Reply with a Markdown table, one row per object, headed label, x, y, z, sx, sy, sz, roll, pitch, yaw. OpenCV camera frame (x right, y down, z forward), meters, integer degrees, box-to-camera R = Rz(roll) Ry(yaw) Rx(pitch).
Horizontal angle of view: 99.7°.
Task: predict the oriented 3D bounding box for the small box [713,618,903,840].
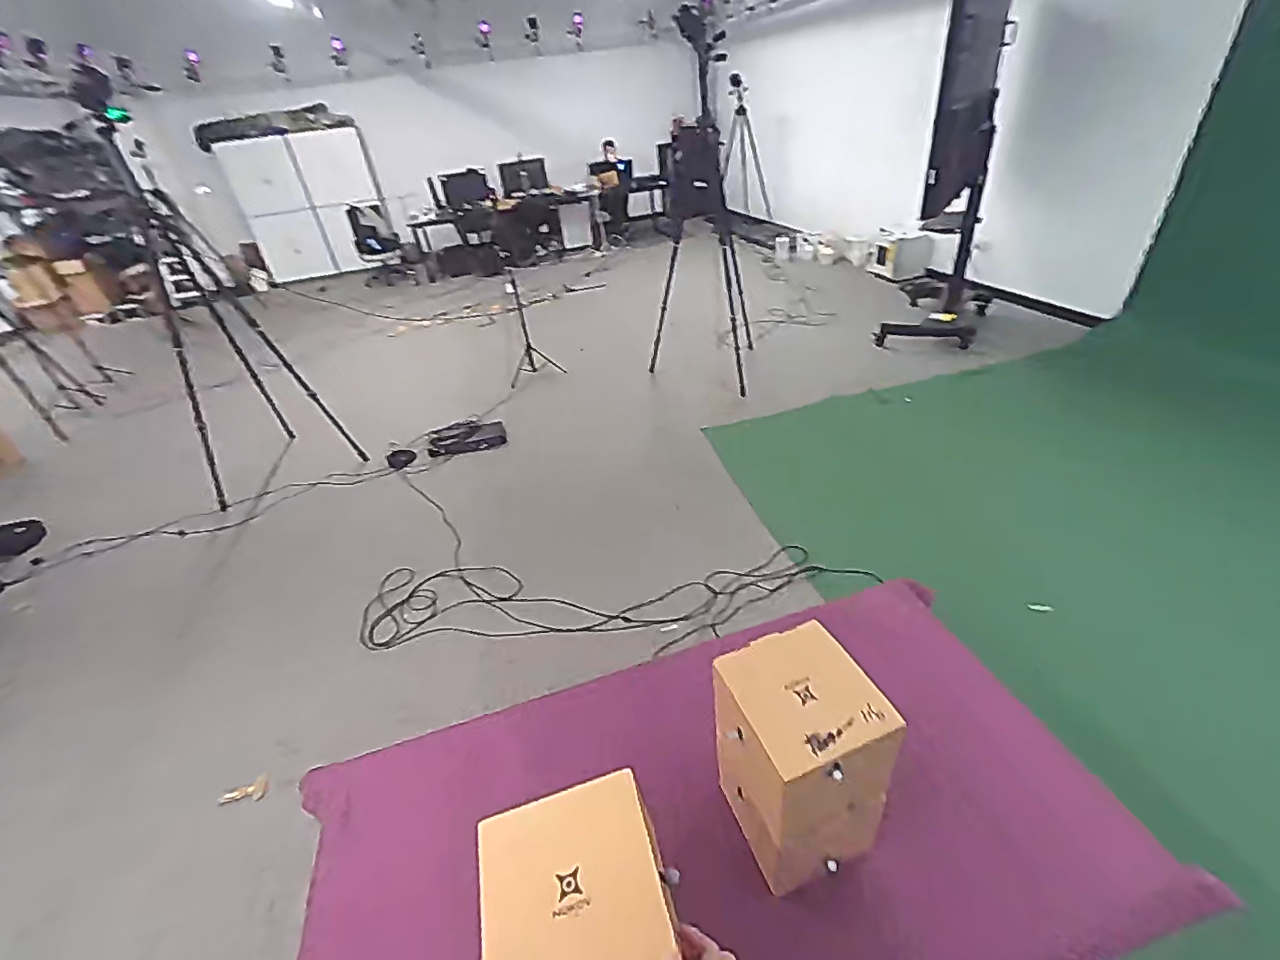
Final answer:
| label | x | y | z | sx | sy | sz | roll | pitch | yaw |
| --- | --- | --- | --- | --- | --- | --- | --- | --- | --- |
| small box | 0.207 | 0.322 | 0.712 | 0.168 | 0.176 | 0.179 | -17 | 35 | -13 |

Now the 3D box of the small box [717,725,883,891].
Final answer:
| label | x | y | z | sx | sy | sz | roll | pitch | yaw |
| --- | --- | --- | --- | --- | --- | --- | --- | --- | --- |
| small box | 0.224 | 0.457 | 0.804 | 0.168 | 0.176 | 0.179 | -17 | 36 | -13 |
